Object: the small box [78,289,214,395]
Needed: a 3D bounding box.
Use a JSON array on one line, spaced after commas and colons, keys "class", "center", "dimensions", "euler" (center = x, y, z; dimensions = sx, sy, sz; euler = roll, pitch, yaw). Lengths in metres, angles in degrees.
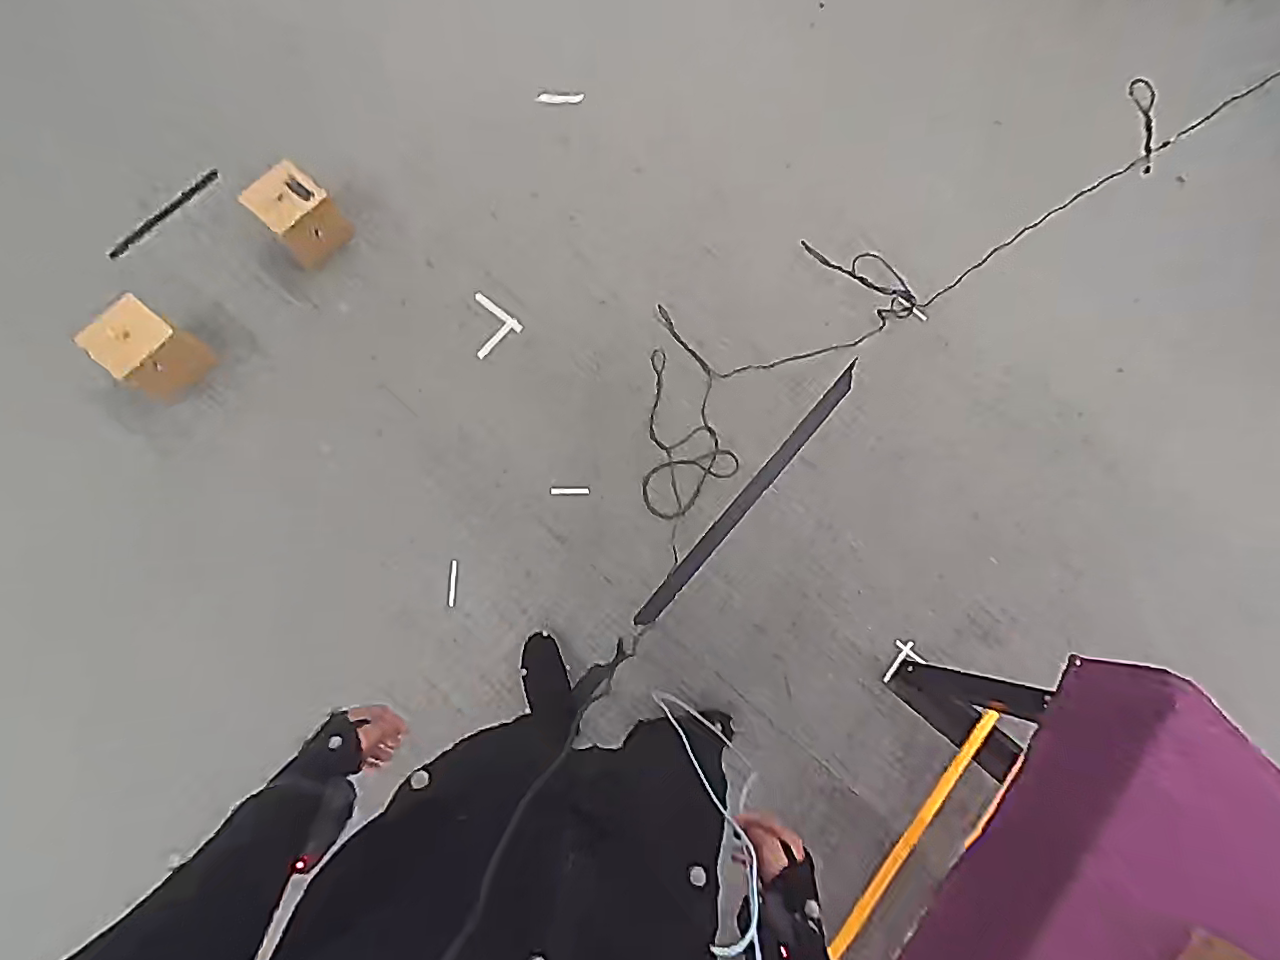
[{"class": "small box", "center": [-1.287, -0.358, 1.431], "dimensions": [0.168, 0.176, 0.179], "euler": [40, 80, 4]}]
